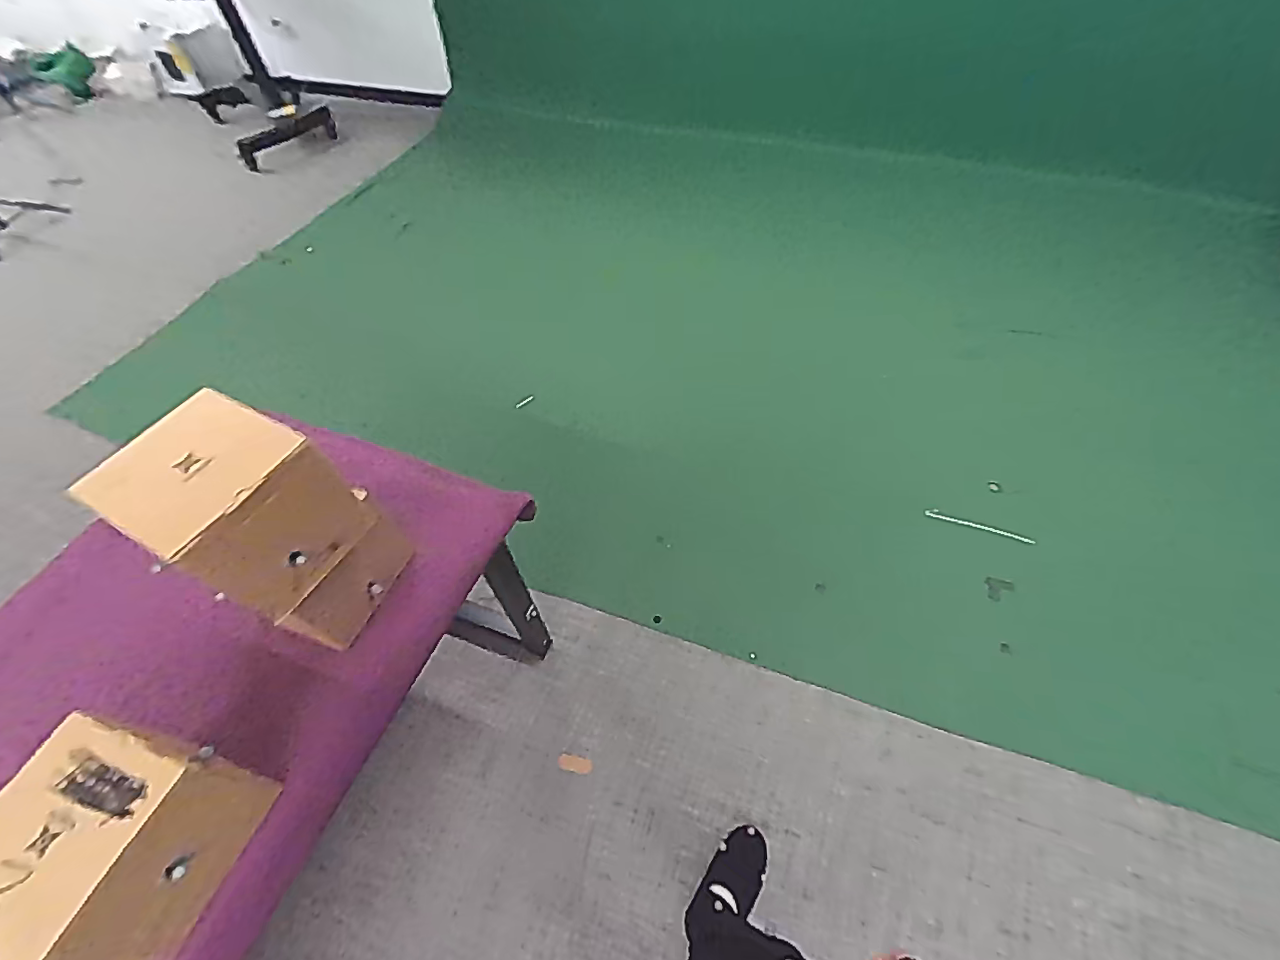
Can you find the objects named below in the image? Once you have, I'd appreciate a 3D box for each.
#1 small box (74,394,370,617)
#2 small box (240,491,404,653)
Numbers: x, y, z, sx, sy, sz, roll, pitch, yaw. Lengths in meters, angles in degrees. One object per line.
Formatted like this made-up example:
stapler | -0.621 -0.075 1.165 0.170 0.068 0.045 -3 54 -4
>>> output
small box | -0.464 0.034 0.629 0.179 0.176 0.168 22 58 18
small box | -0.469 0.117 0.772 0.168 0.176 0.179 14 55 15
